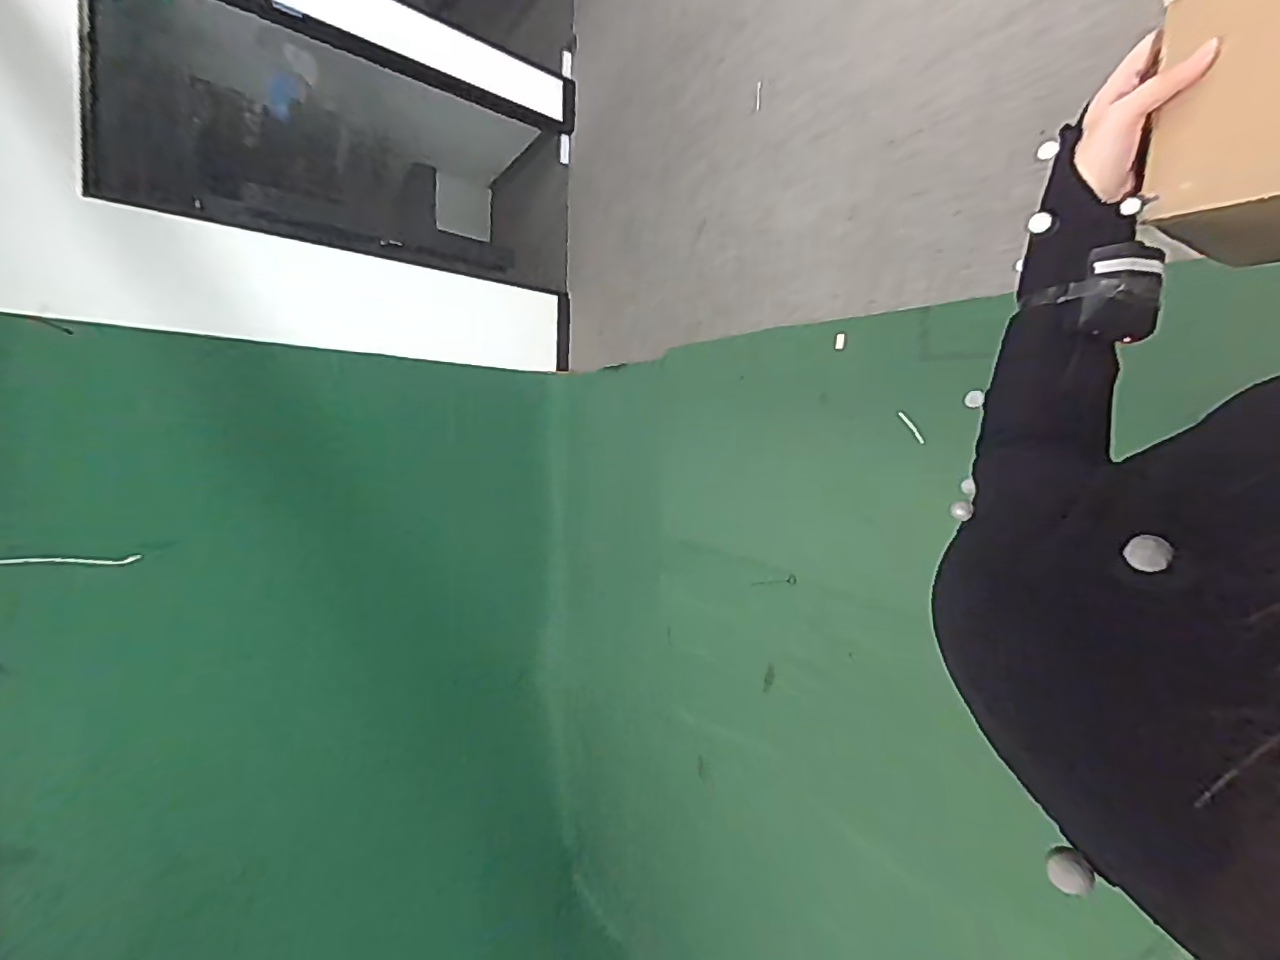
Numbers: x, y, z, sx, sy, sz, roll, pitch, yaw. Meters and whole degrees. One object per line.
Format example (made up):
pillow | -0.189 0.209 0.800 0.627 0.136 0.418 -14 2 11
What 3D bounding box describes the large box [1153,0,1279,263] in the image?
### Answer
large box | 0.632 -0.340 0.315 0.408 0.320 0.320 13 106 56
